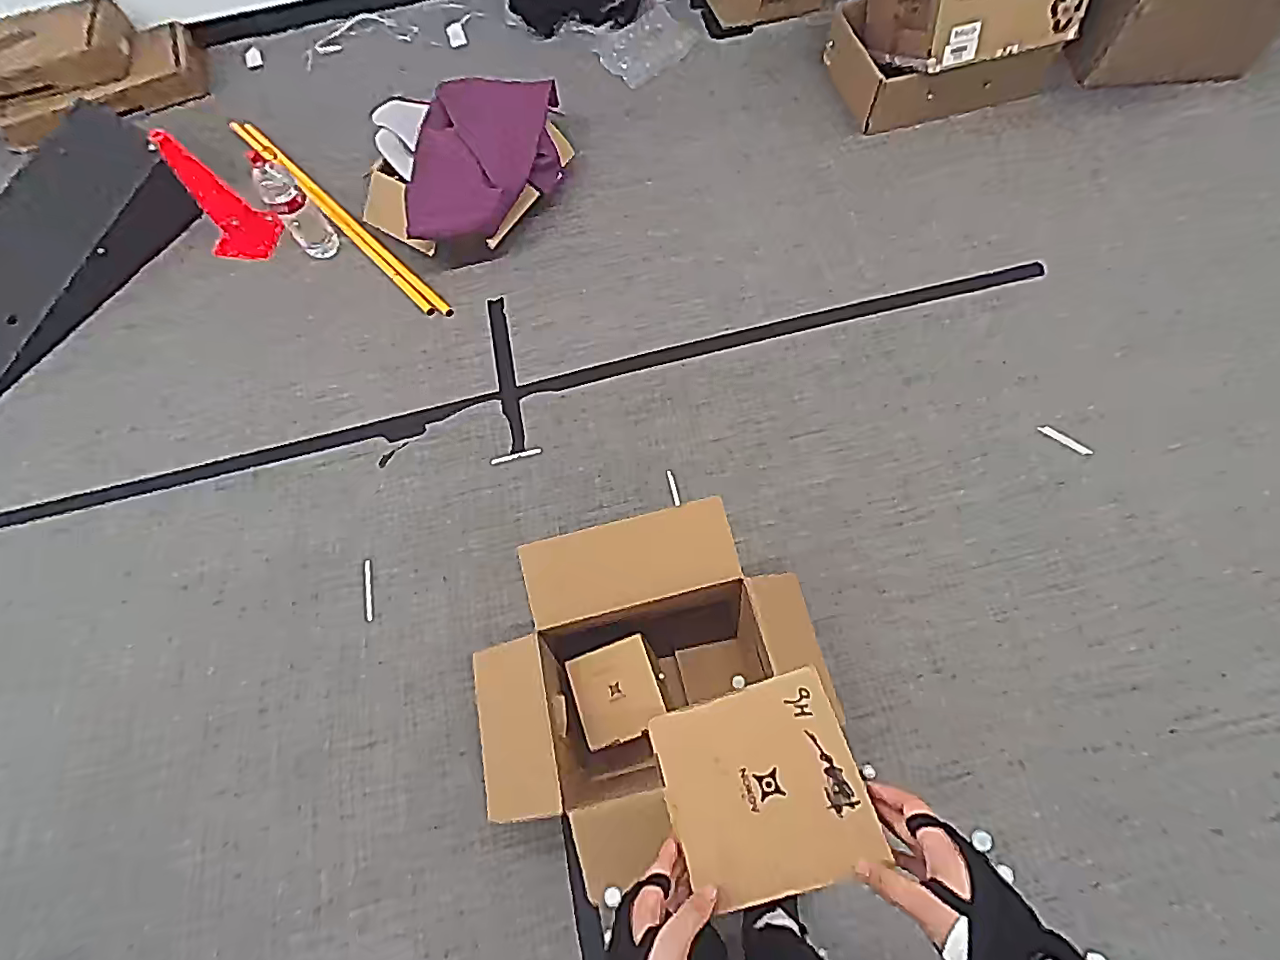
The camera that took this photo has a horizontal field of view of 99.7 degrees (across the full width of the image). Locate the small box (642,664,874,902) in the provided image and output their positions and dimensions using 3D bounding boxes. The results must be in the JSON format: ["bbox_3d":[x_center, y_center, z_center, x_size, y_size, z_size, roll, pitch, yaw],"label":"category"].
[{"bbox_3d":[0.125,0.306,0.574,0.179,0.176,0.168,-22,65,9],"label":"small box"}]
